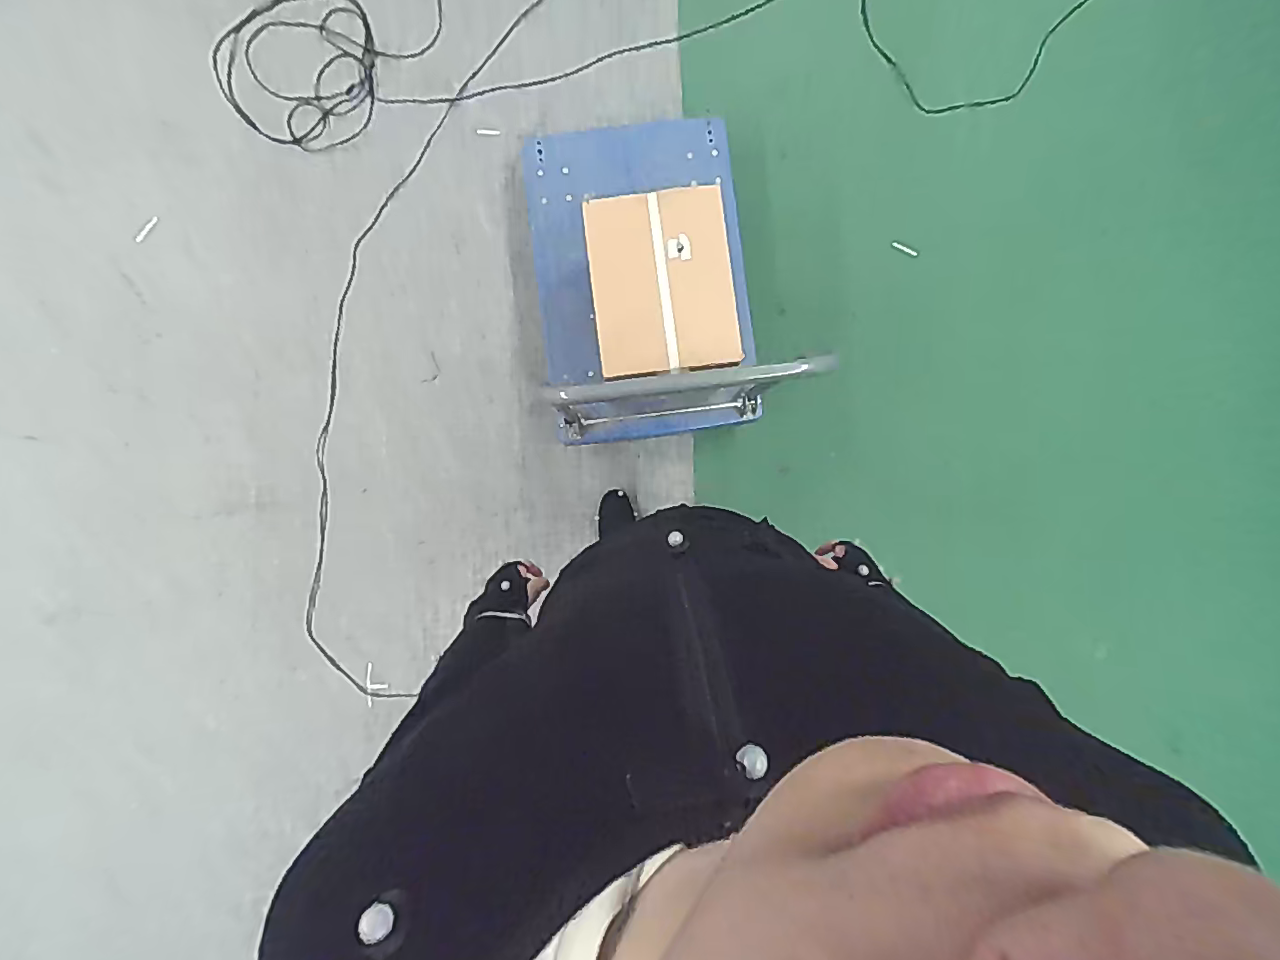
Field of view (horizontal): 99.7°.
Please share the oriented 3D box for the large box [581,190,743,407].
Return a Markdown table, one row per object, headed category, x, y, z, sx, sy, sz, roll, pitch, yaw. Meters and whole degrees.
| category | x | y | z | sx | sy | sz | roll | pitch | yaw |
| --- | --- | --- | --- | --- | --- | --- | --- | --- | --- |
| large box | 0.048 | -0.424 | 1.344 | 0.320 | 0.320 | 0.408 | -7 | 86 | -2 |
